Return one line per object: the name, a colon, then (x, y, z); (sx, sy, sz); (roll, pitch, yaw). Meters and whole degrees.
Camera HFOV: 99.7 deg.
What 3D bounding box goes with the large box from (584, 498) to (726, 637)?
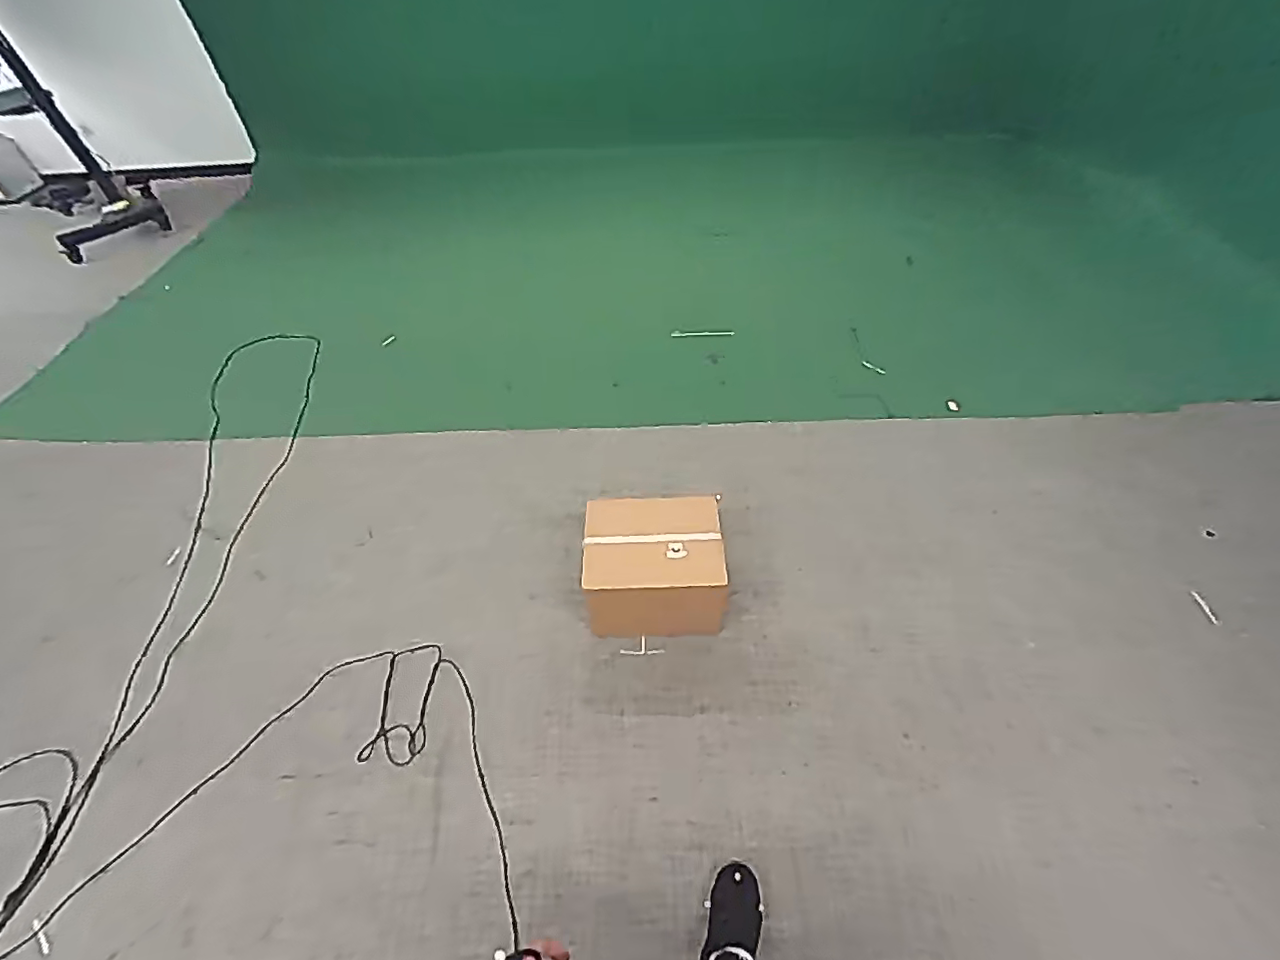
large box: (0.038, 0.279, 1.701); (0.408, 0.320, 0.320); (-3, 49, 0)
